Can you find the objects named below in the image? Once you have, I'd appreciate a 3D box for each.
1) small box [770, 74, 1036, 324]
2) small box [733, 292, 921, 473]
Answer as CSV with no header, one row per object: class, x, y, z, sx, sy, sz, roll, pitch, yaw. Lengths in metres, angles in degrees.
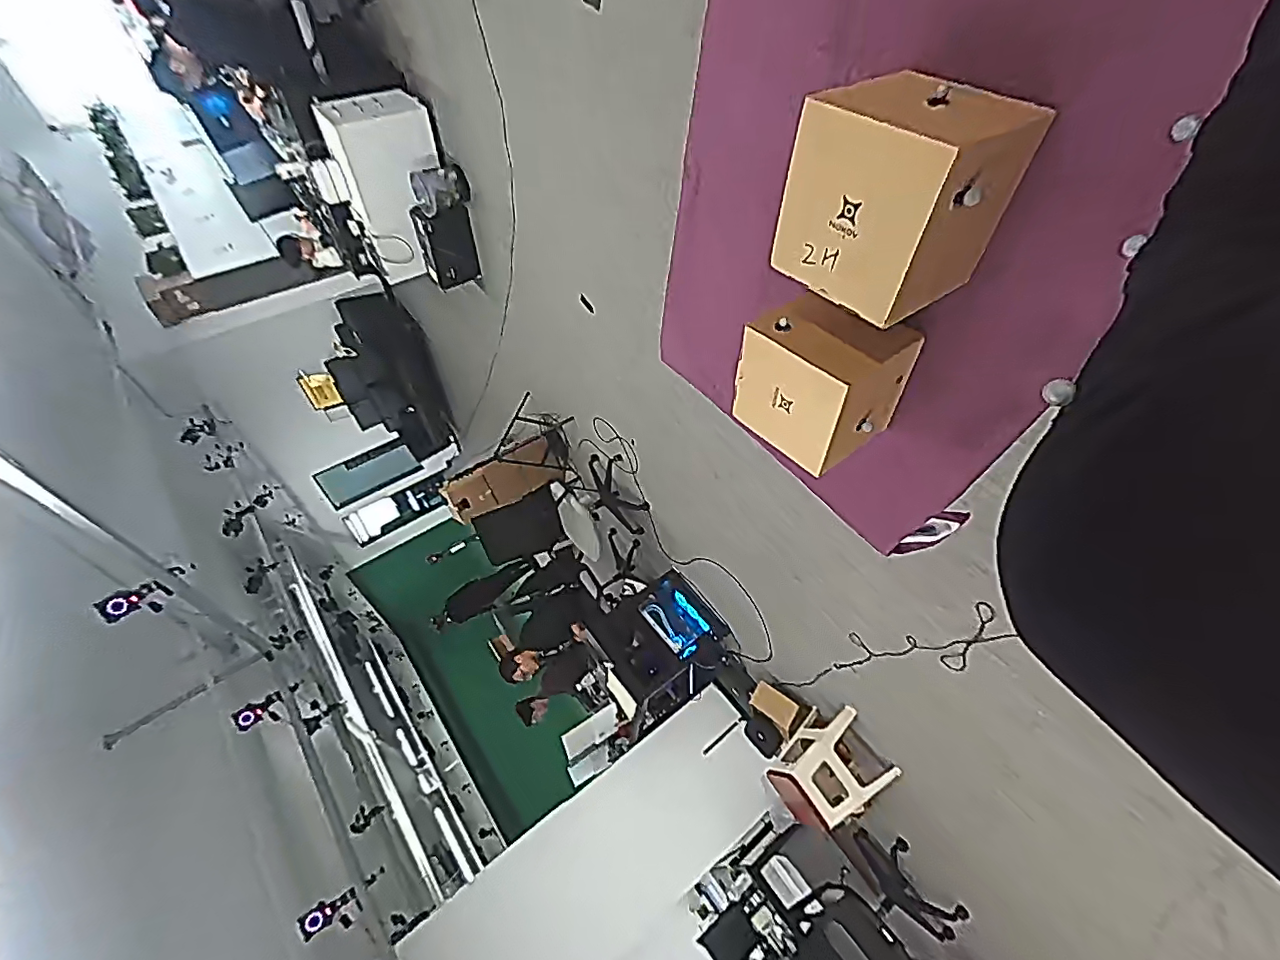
small box,0.270,-0.303,0.572,0.168,0.176,0.179,46,152,31
small box,0.261,-0.148,0.777,0.179,0.176,0.168,44,152,33
